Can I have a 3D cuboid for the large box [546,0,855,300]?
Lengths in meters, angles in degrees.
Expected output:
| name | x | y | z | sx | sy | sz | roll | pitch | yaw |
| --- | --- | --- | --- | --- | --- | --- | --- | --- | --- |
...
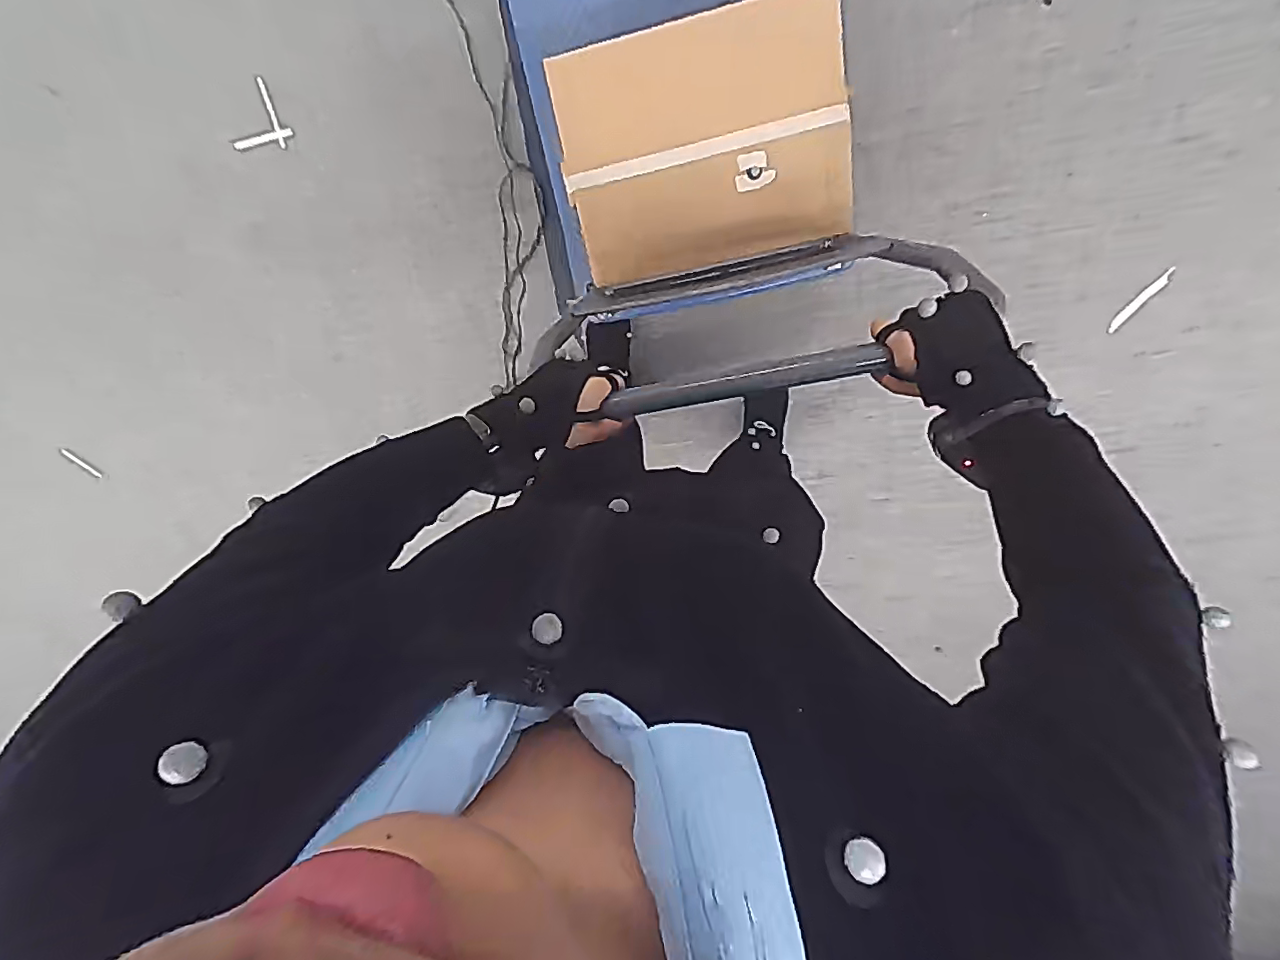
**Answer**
| name | x | y | z | sx | sy | sz | roll | pitch | yaw |
| --- | --- | --- | --- | --- | --- | --- | --- | --- | --- |
| large box | 0.102 | -0.516 | 0.912 | 0.408 | 0.320 | 0.320 | -10 | 112 | 8 |
